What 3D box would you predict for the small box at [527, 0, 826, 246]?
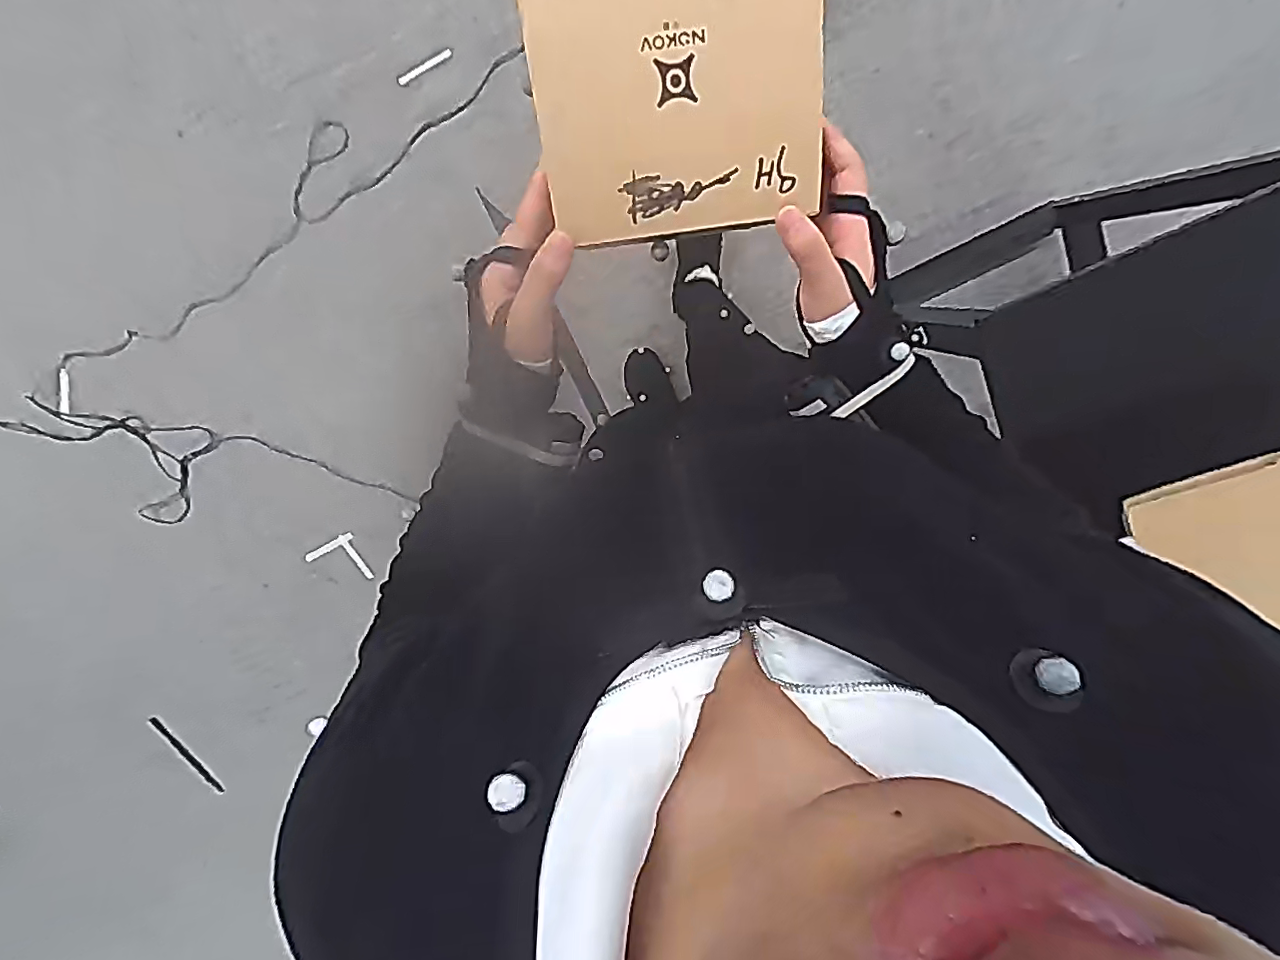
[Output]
[{"bbox_3d":[0.018,-0.268,0.375,0.168,0.176,0.179,-7,112,1],"label":"small box"}]
